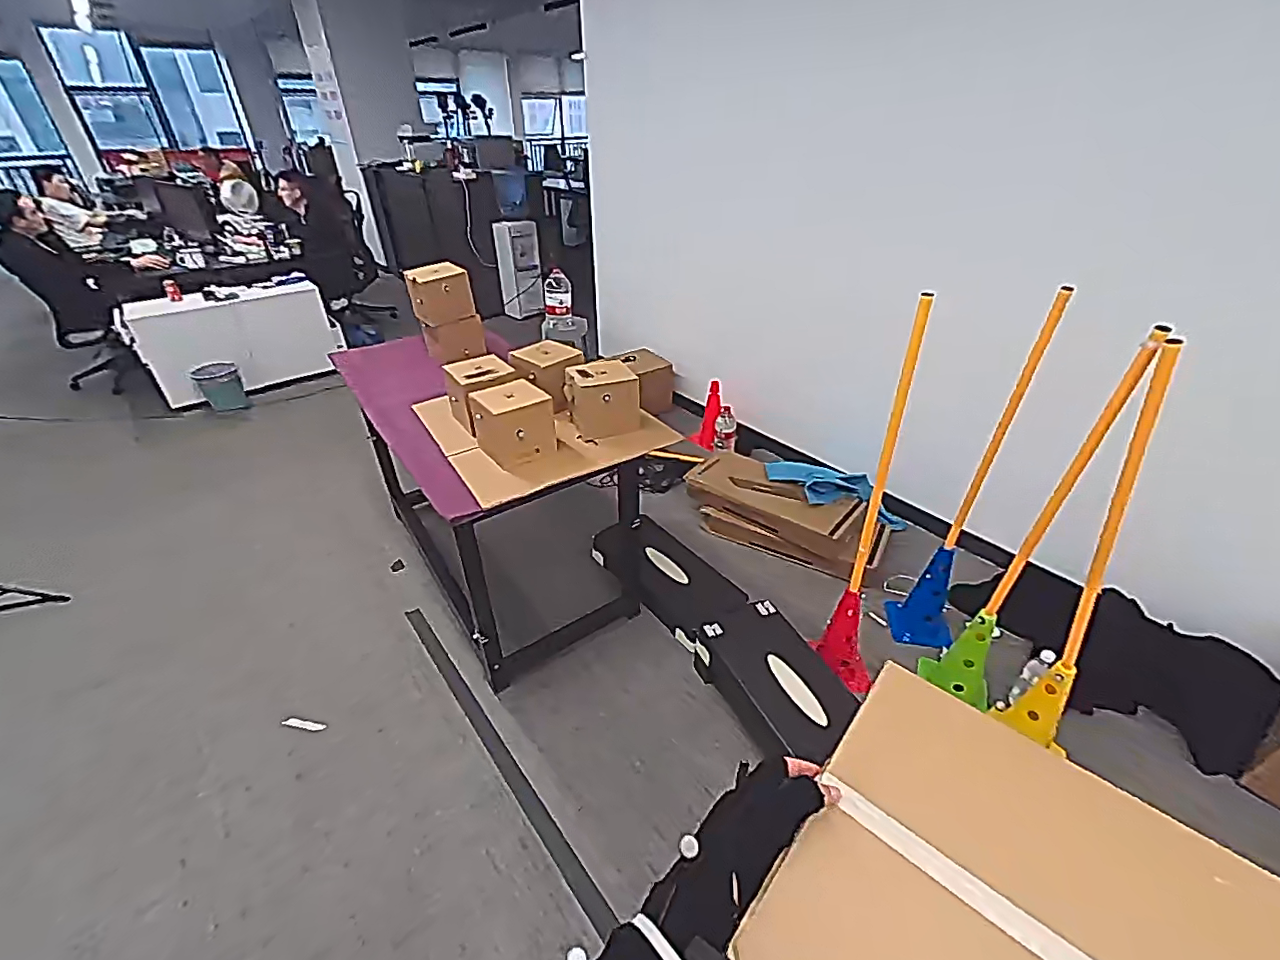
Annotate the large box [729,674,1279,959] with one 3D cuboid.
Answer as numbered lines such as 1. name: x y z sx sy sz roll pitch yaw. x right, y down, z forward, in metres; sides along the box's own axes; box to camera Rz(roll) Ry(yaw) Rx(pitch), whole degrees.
1. large box: 0.320 0.470 0.485 0.408 0.320 0.320 28 50 32
